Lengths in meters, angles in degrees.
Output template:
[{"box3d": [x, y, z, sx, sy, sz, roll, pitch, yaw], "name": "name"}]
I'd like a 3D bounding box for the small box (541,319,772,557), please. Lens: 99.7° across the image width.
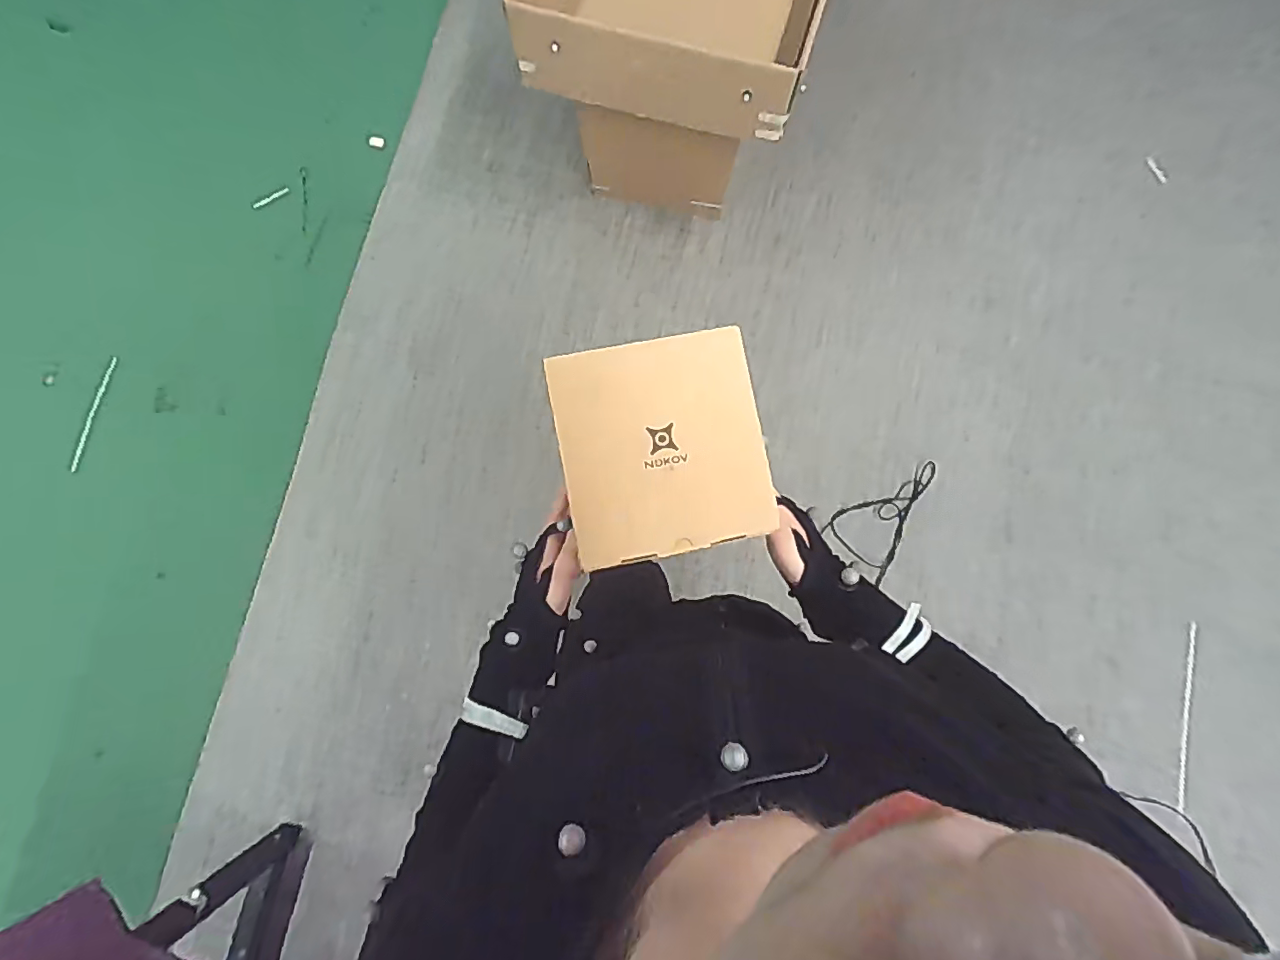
[{"box3d": [0.007, -0.030, 0.517, 0.168, 0.176, 0.179, -11, 86, -4], "name": "small box"}]
